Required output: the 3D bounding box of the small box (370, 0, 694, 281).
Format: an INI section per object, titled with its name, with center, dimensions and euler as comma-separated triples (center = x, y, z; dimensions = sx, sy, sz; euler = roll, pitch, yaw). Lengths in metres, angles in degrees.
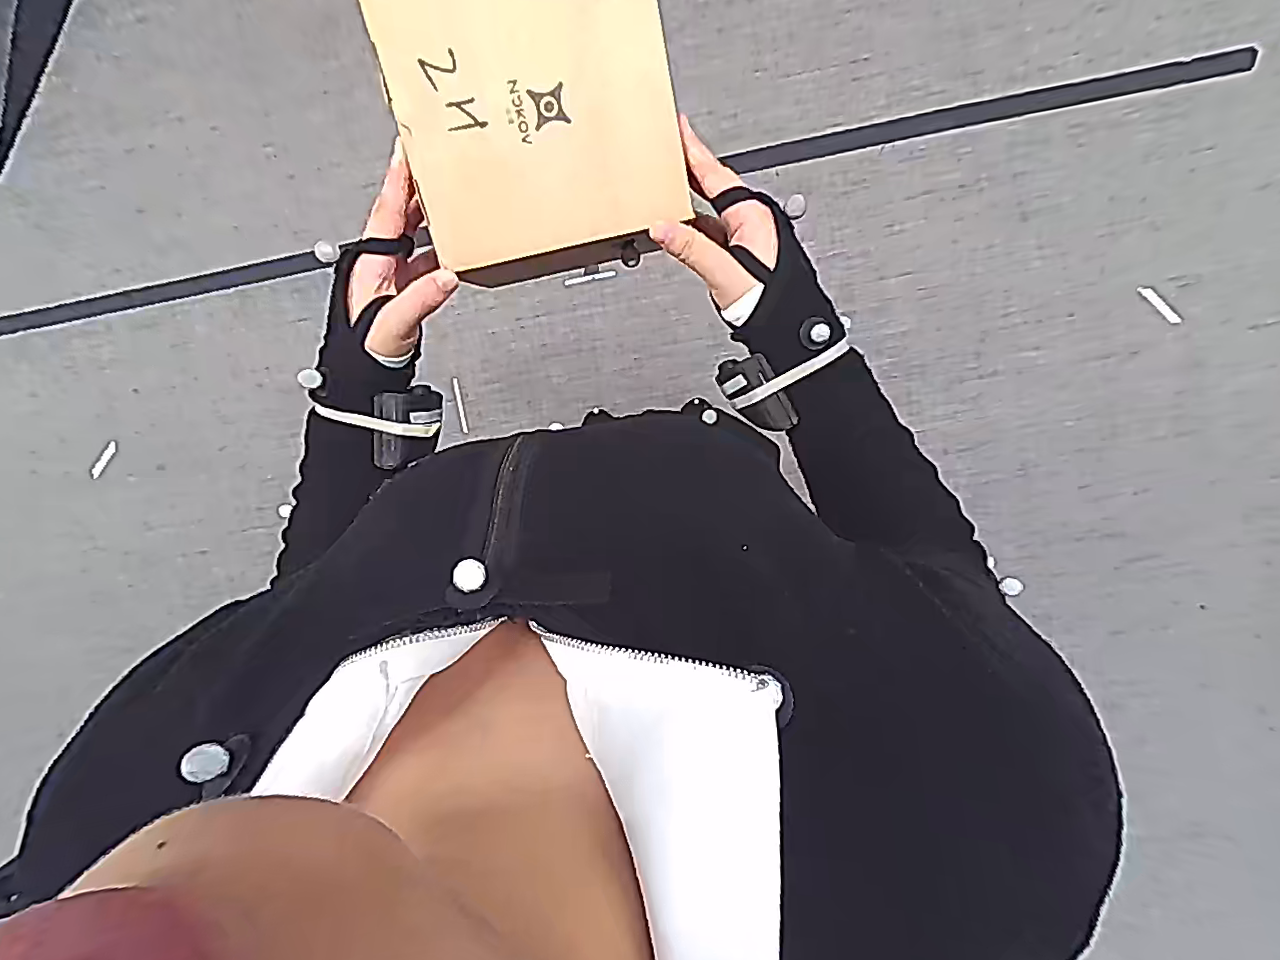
[small box]
center = -0.068, -0.257, 0.419
dimensions = 0.179, 0.176, 0.168
euler = -12, 108, 0
